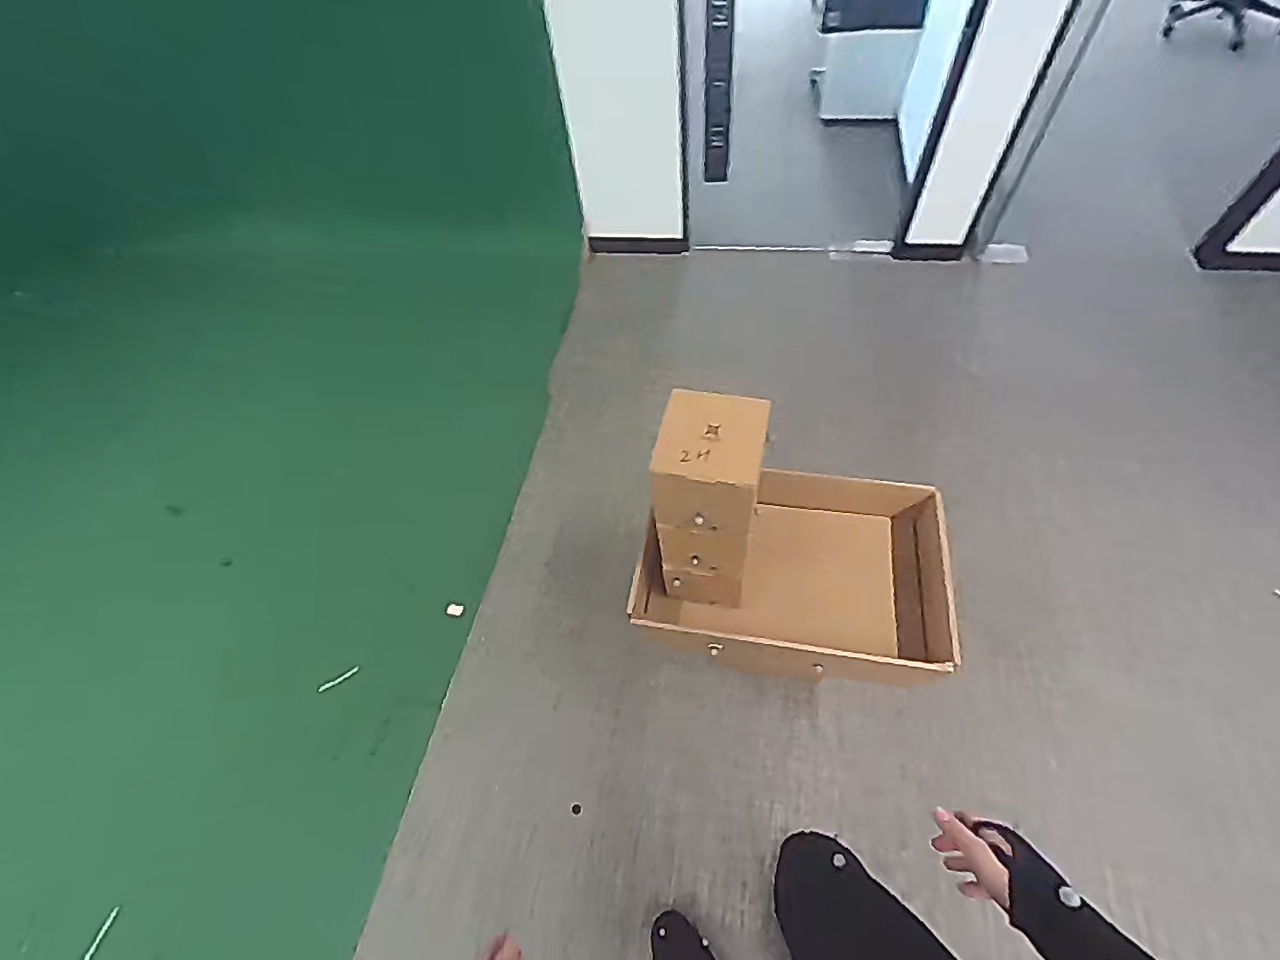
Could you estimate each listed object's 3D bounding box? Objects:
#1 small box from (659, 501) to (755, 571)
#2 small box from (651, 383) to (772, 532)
[{"bbox_3d":[0.136,0.055,1.056,0.168,0.176,0.179,8,58,11],"label":"small box"},{"bbox_3d":[0.121,-0.036,0.919,0.168,0.176,0.179,10,59,13],"label":"small box"}]
